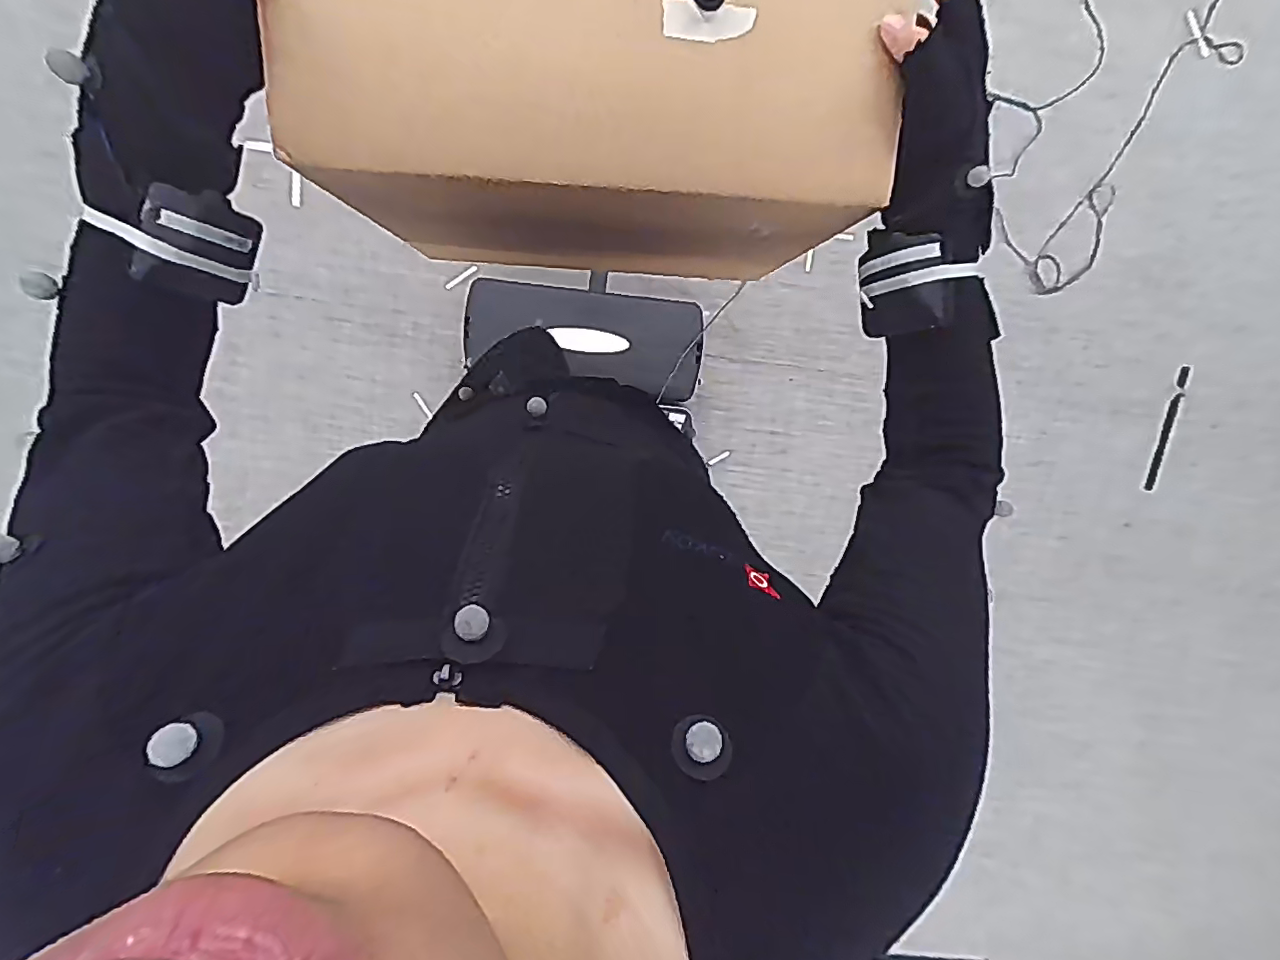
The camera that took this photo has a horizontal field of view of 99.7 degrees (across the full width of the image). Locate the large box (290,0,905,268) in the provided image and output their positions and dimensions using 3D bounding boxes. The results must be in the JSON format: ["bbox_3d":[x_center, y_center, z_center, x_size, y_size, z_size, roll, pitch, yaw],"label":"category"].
[{"bbox_3d":[-0.032,-0.385,0.485,0.408,0.320,0.320,1,102,-5],"label":"large box"}]

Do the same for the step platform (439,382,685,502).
[{"bbox_3d":[-0.213,-0.108,1.545,0.684,0.204,0.286,5,98,-2],"label":"step platform"}]
